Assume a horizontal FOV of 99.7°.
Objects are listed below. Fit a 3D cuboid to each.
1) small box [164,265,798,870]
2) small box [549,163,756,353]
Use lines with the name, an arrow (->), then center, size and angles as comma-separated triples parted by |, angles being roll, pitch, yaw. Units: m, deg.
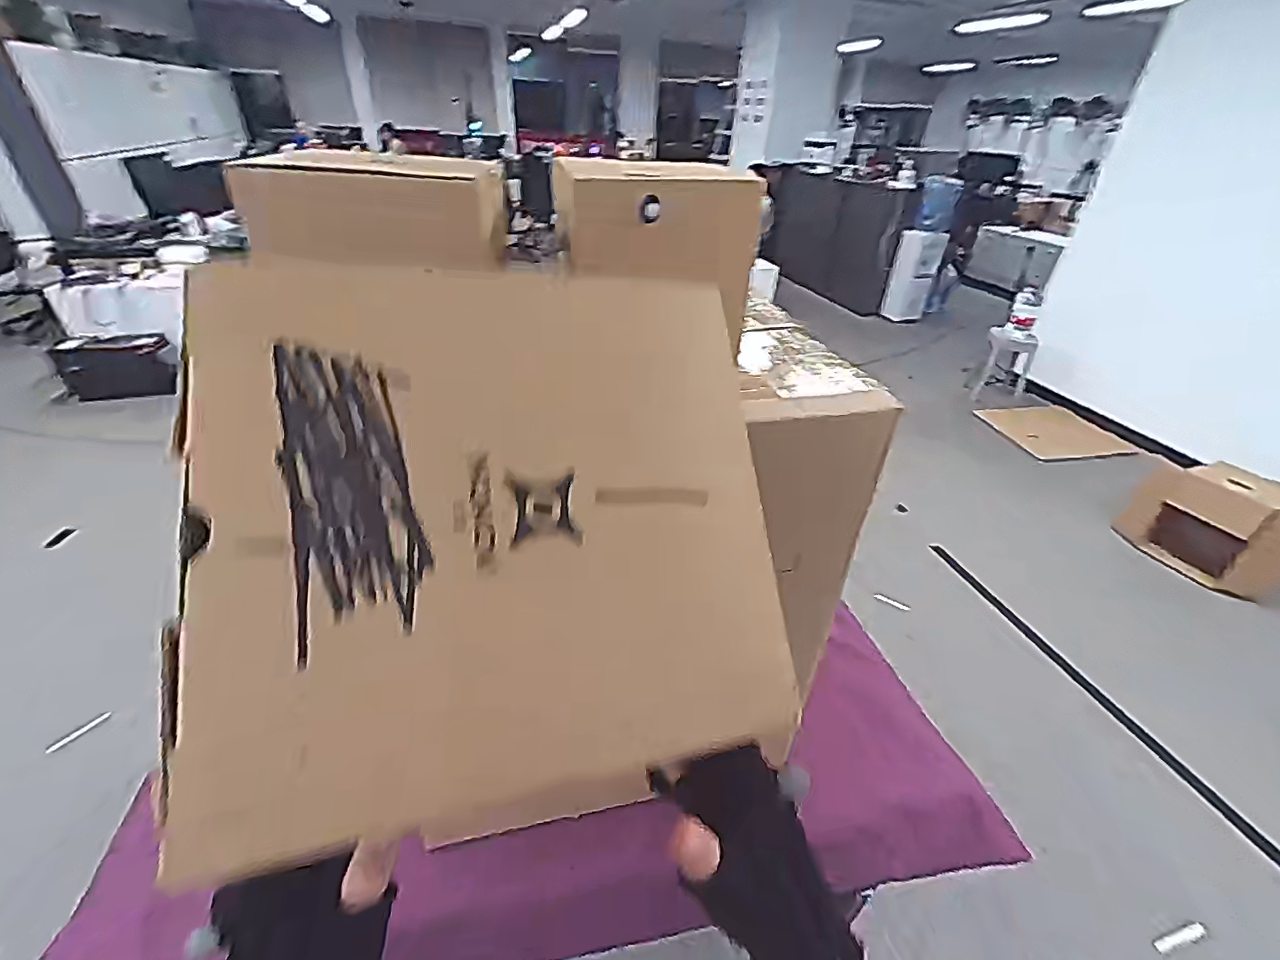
small box -> -0.063, 0.030, 0.244 | 0.179, 0.176, 0.168 | -3, 77, -20
small box -> -0.001, -0.222, 0.554 | 0.168, 0.176, 0.179 | -7, 34, -12
